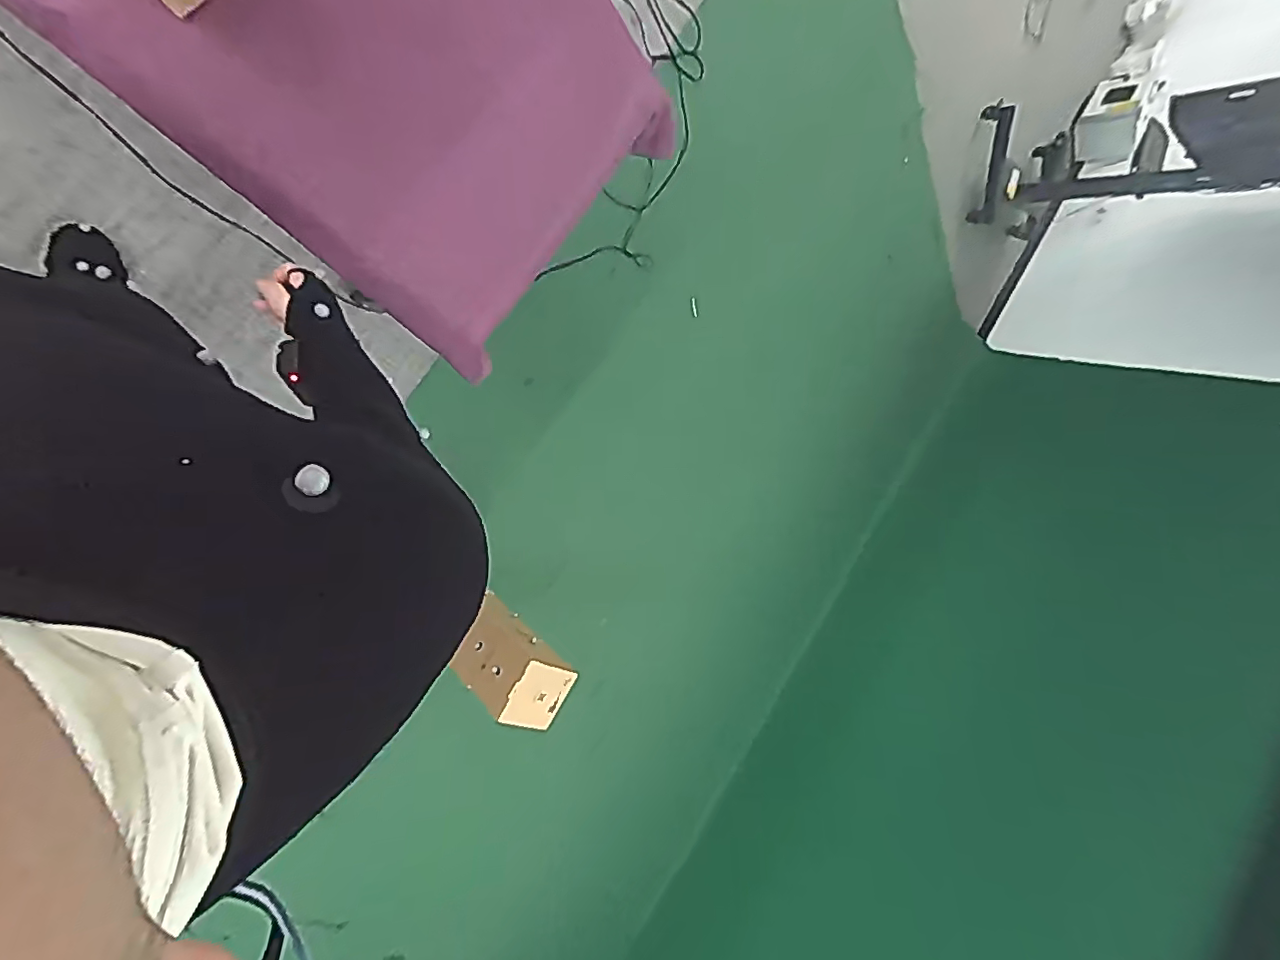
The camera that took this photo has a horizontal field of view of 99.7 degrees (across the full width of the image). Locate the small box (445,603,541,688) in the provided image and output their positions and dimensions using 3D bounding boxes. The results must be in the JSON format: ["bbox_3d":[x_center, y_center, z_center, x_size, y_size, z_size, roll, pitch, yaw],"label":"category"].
[{"bbox_3d":[-0.419,0.474,1.528,0.168,0.176,0.179,35,83,-43],"label":"small box"}]

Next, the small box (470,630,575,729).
[{"bbox_3d":[-0.311,0.515,1.412,0.179,0.176,0.168,38,80,-42],"label":"small box"}]

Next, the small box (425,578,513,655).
[{"bbox_3d":[-0.526,0.428,1.644,0.168,0.176,0.179,38,80,-43],"label":"small box"}]
